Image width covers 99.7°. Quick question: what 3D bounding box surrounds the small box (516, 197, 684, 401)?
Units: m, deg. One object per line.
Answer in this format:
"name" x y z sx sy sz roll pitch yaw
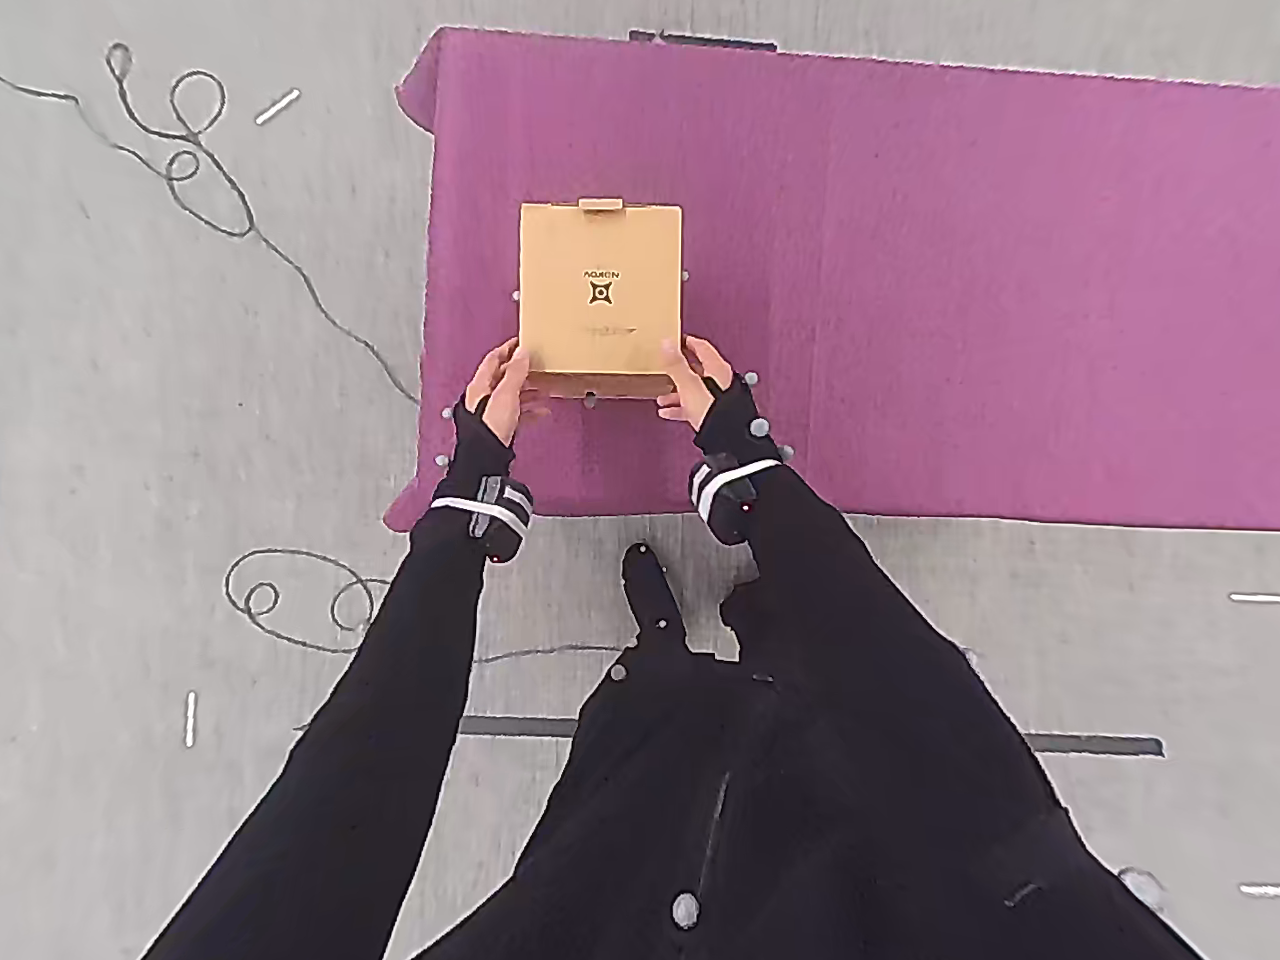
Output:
"small box" -0.042 -0.193 0.621 0.168 0.176 0.179 1 90 -1
